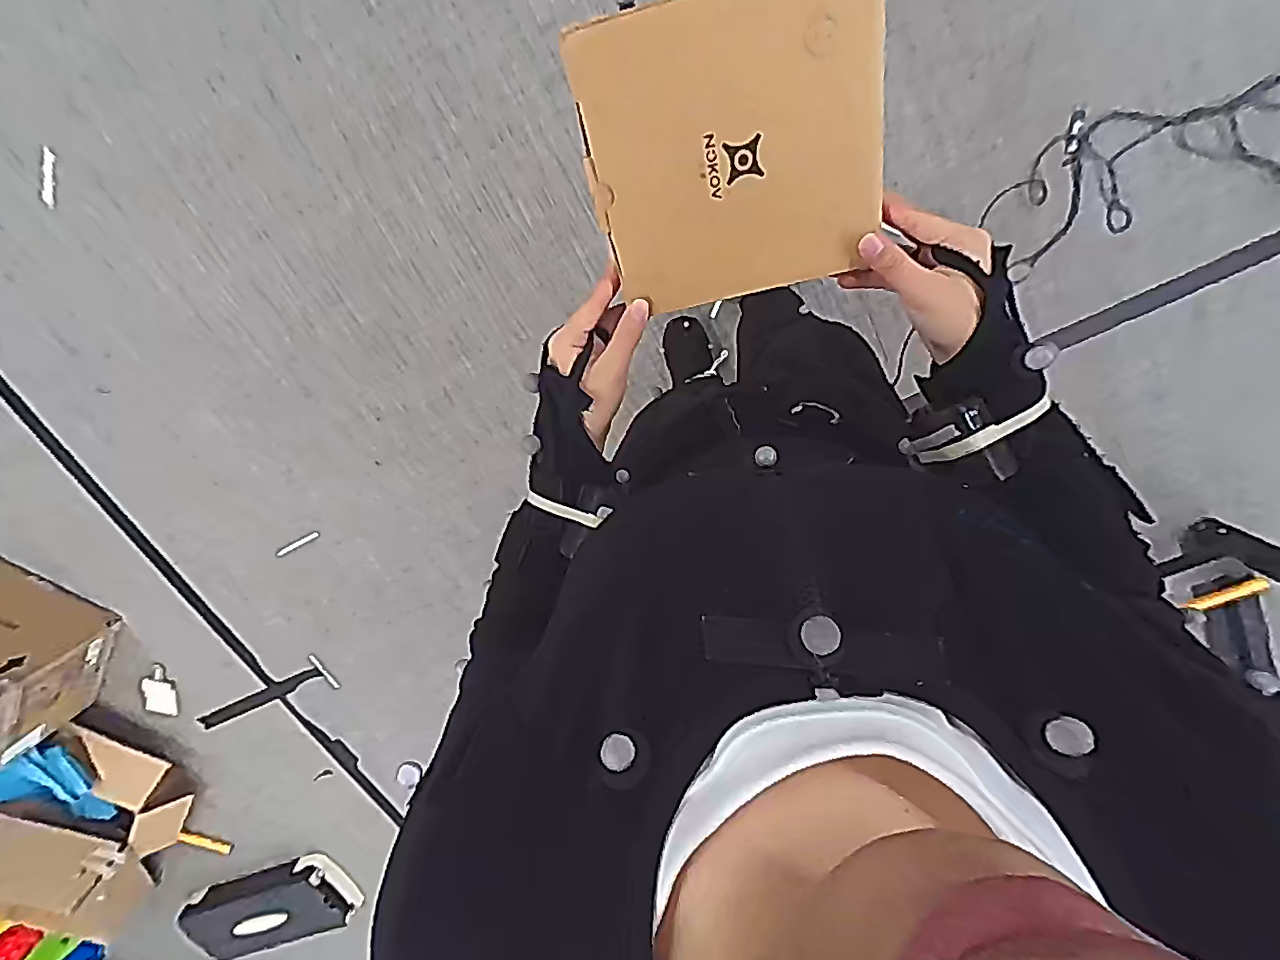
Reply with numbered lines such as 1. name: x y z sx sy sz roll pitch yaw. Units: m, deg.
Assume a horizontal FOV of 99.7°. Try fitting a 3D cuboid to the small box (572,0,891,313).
1. small box: 0.062 -0.246 0.397 0.179 0.176 0.168 -10 126 8
